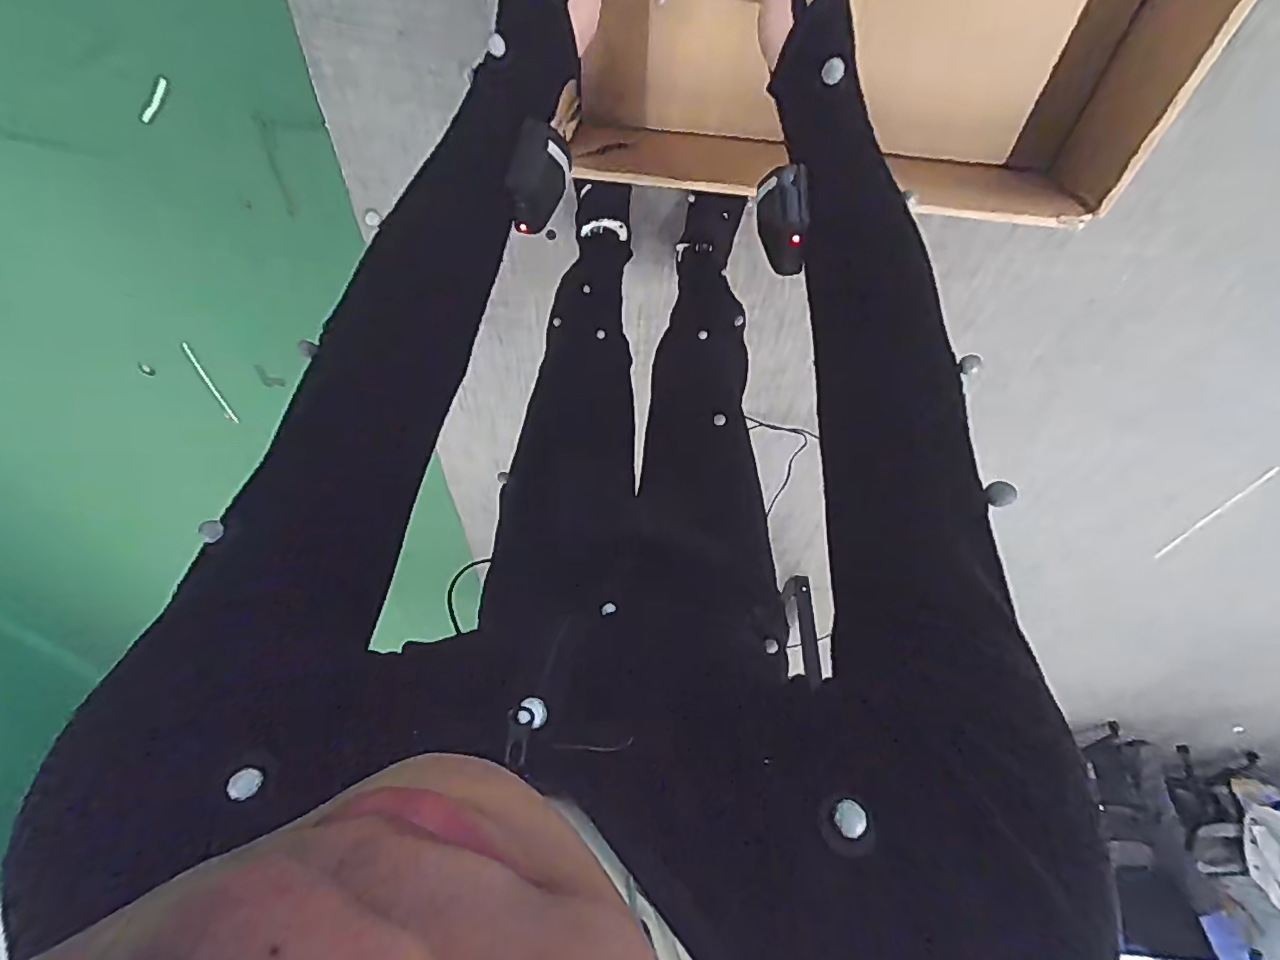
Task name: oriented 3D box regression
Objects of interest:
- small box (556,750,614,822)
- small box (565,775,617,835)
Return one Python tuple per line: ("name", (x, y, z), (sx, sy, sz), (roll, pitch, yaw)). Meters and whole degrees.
("small box", (-0.177, 1.011, 1.784), (0.168, 0.176, 0.179), (4, 140, 2))
("small box", (-0.175, 1.183, 1.984), (0.168, 0.176, 0.179), (3, 138, 2))
